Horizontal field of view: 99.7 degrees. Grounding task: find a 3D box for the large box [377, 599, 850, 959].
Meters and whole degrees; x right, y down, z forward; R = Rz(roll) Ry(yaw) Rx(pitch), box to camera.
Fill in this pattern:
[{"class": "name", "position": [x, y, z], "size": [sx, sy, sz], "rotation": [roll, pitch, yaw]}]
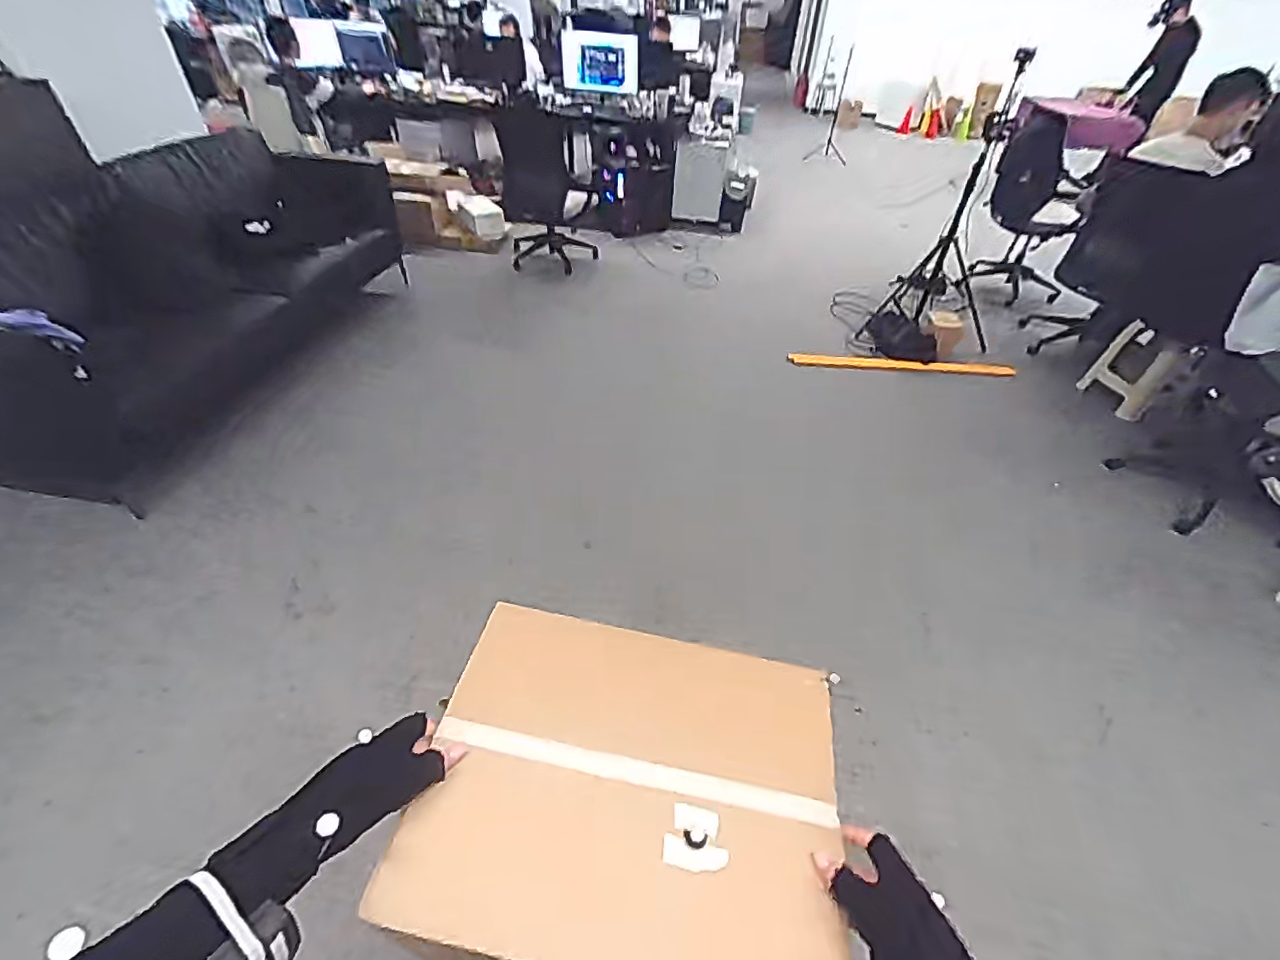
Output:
[{"class": "large box", "position": [-0.017, 0.390, 0.644], "size": [0.408, 0.320, 0.320], "rotation": [11, 43, 4]}]
